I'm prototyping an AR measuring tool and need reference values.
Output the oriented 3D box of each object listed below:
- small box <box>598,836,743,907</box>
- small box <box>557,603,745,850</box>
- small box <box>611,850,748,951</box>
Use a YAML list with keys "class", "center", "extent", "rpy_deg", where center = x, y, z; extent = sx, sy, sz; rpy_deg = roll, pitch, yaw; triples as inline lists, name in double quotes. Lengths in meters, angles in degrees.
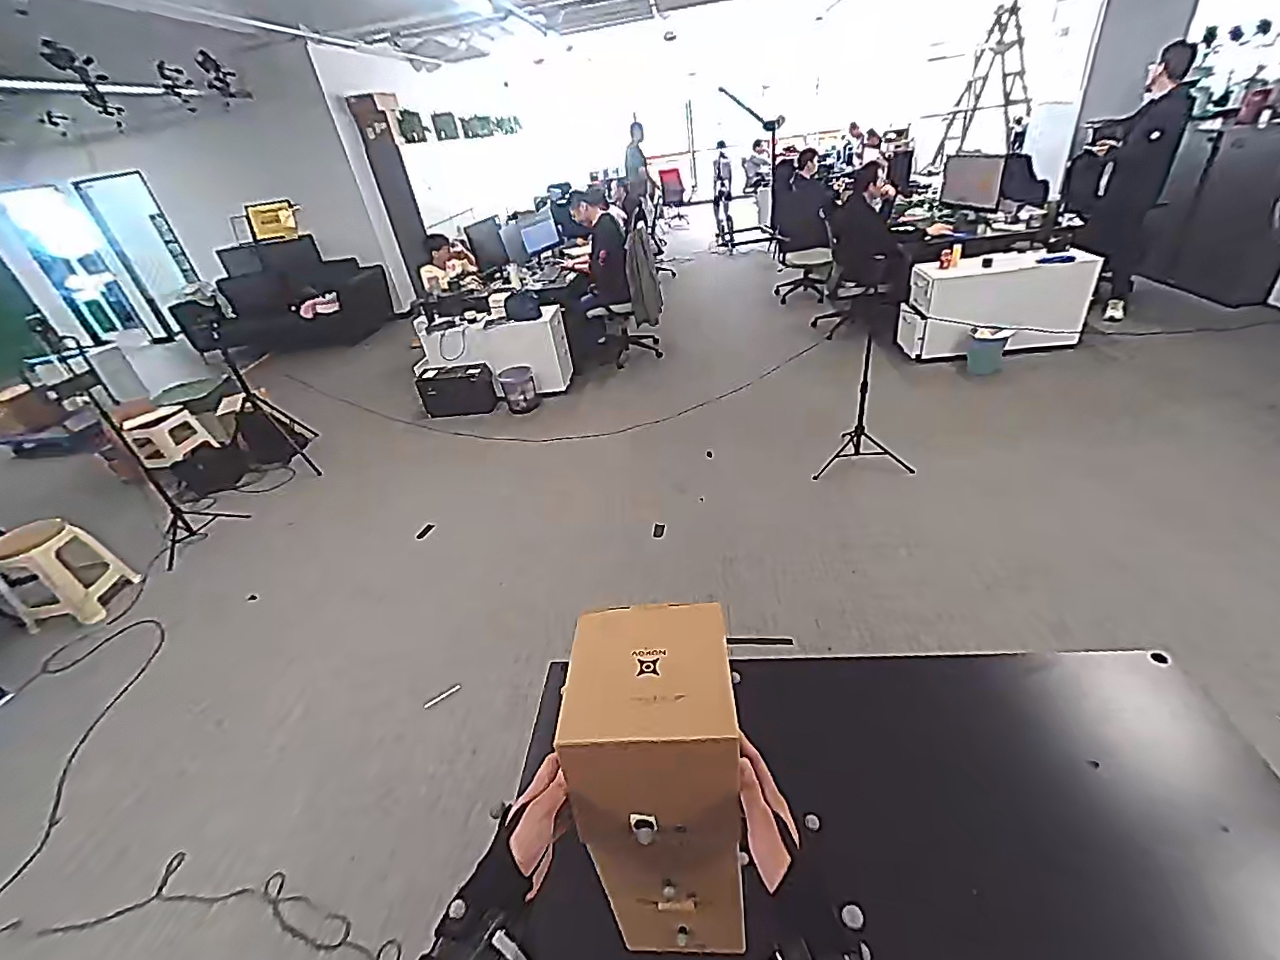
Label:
- class: "small box"
  center: [0.038, 0.393, 0.676]
  extent: [0.168, 0.176, 0.179]
  rpy_deg: [-5, 33, 8]
- class: "small box"
  center: [0.018, 0.253, 0.574]
  extent: [0.168, 0.176, 0.179]
  rpy_deg: [-4, 28, 5]
- class: "small box"
  center: [0.060, 0.531, 0.764]
  extent: [0.168, 0.176, 0.179]
  rpy_deg: [-5, 33, 7]
